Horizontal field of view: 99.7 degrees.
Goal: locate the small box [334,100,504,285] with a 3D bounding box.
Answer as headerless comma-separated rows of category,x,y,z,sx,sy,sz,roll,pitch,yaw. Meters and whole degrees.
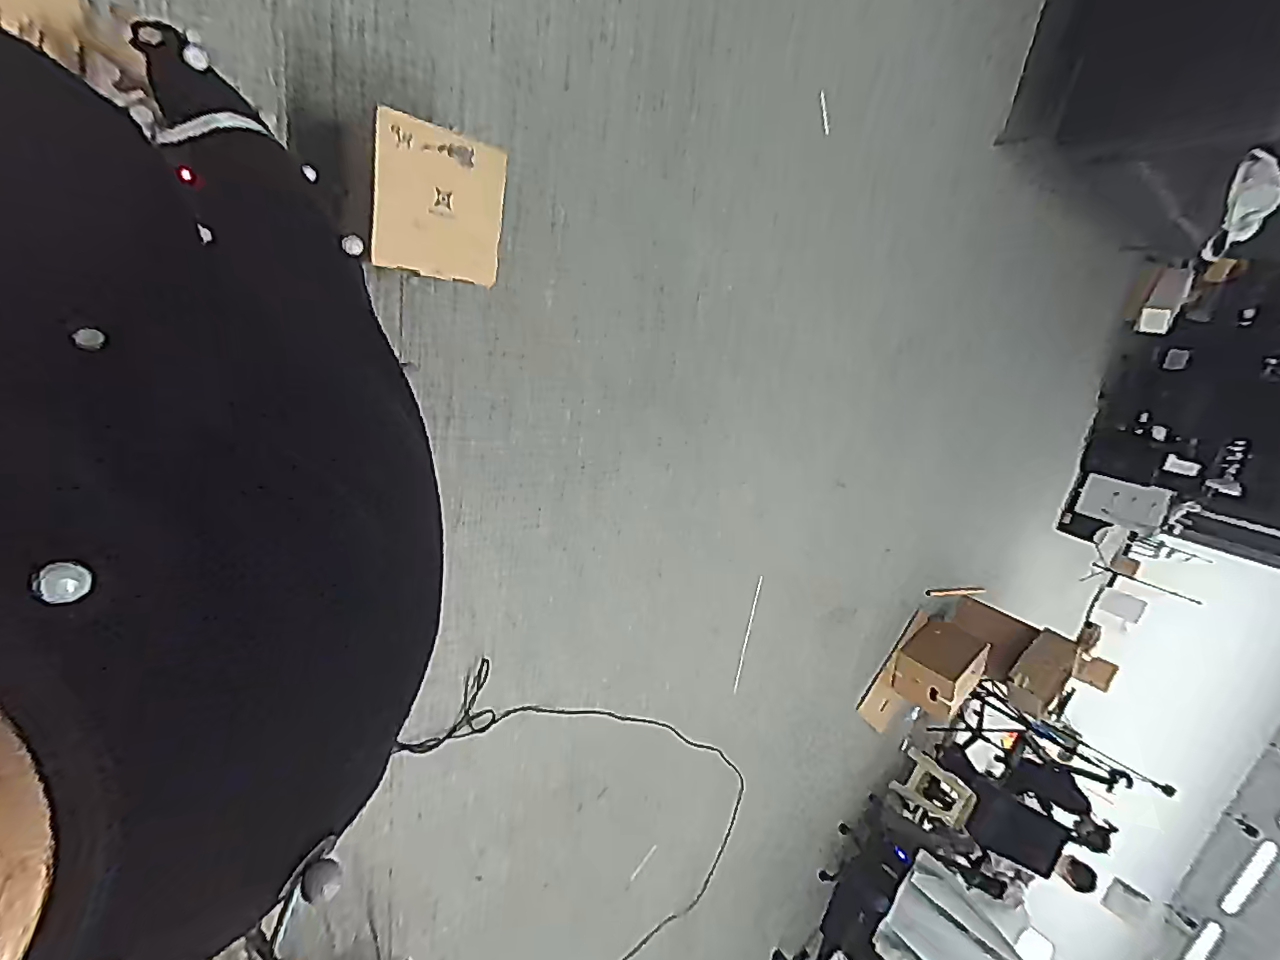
small box,-0.309,-0.381,0.744,0.168,0.176,0.179,-4,112,-41
